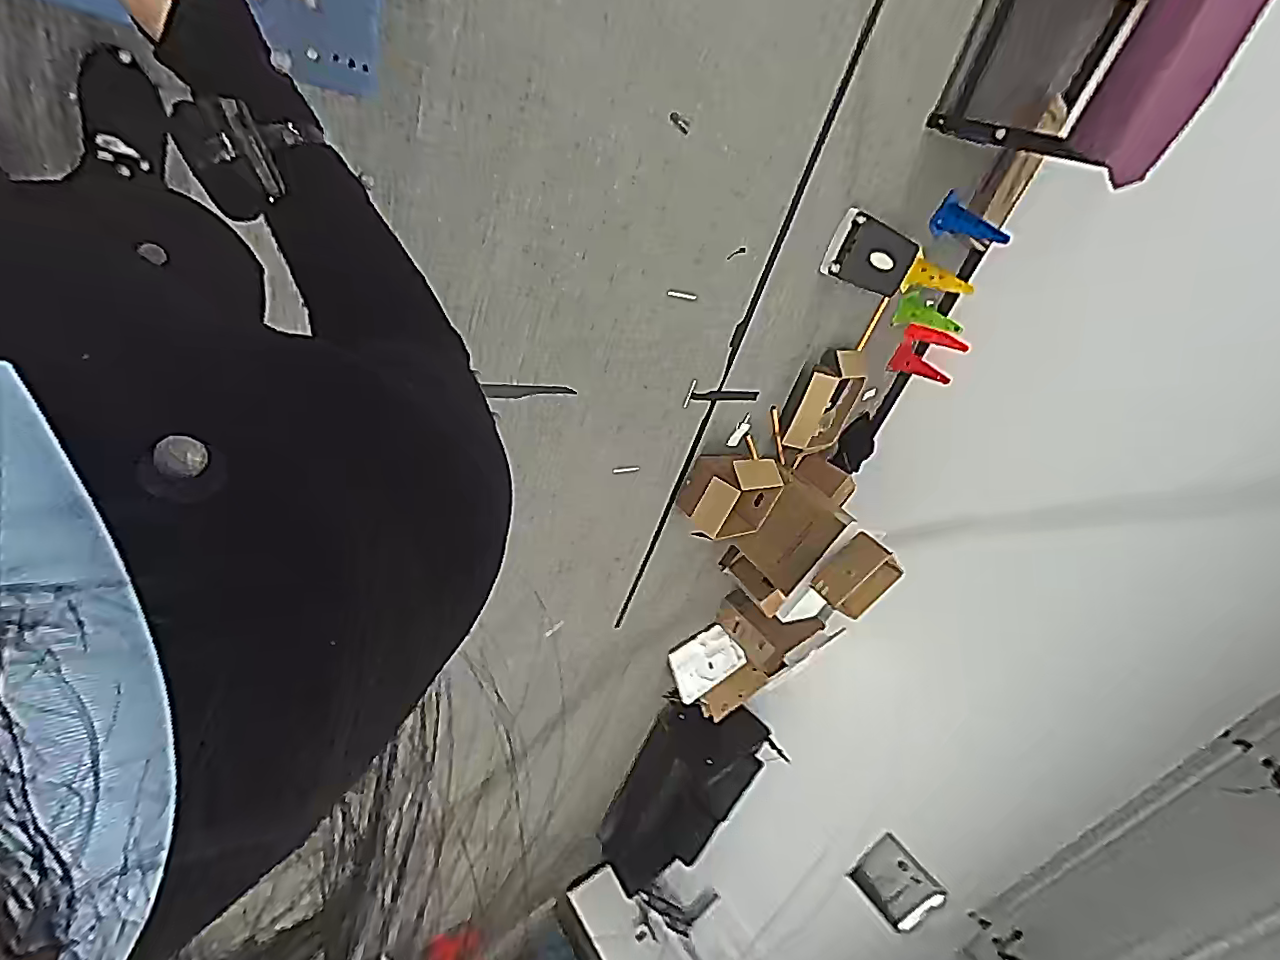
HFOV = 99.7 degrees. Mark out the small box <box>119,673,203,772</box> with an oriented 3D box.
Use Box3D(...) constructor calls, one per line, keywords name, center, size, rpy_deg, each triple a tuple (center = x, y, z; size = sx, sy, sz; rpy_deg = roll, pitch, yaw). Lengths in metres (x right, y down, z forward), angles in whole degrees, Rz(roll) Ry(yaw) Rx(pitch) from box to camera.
Box3D(name="small box", center=(-1.411, 0.710, 1.595), size=(0.168, 0.176, 0.179), rpy_deg=(-11, 131, -42))
